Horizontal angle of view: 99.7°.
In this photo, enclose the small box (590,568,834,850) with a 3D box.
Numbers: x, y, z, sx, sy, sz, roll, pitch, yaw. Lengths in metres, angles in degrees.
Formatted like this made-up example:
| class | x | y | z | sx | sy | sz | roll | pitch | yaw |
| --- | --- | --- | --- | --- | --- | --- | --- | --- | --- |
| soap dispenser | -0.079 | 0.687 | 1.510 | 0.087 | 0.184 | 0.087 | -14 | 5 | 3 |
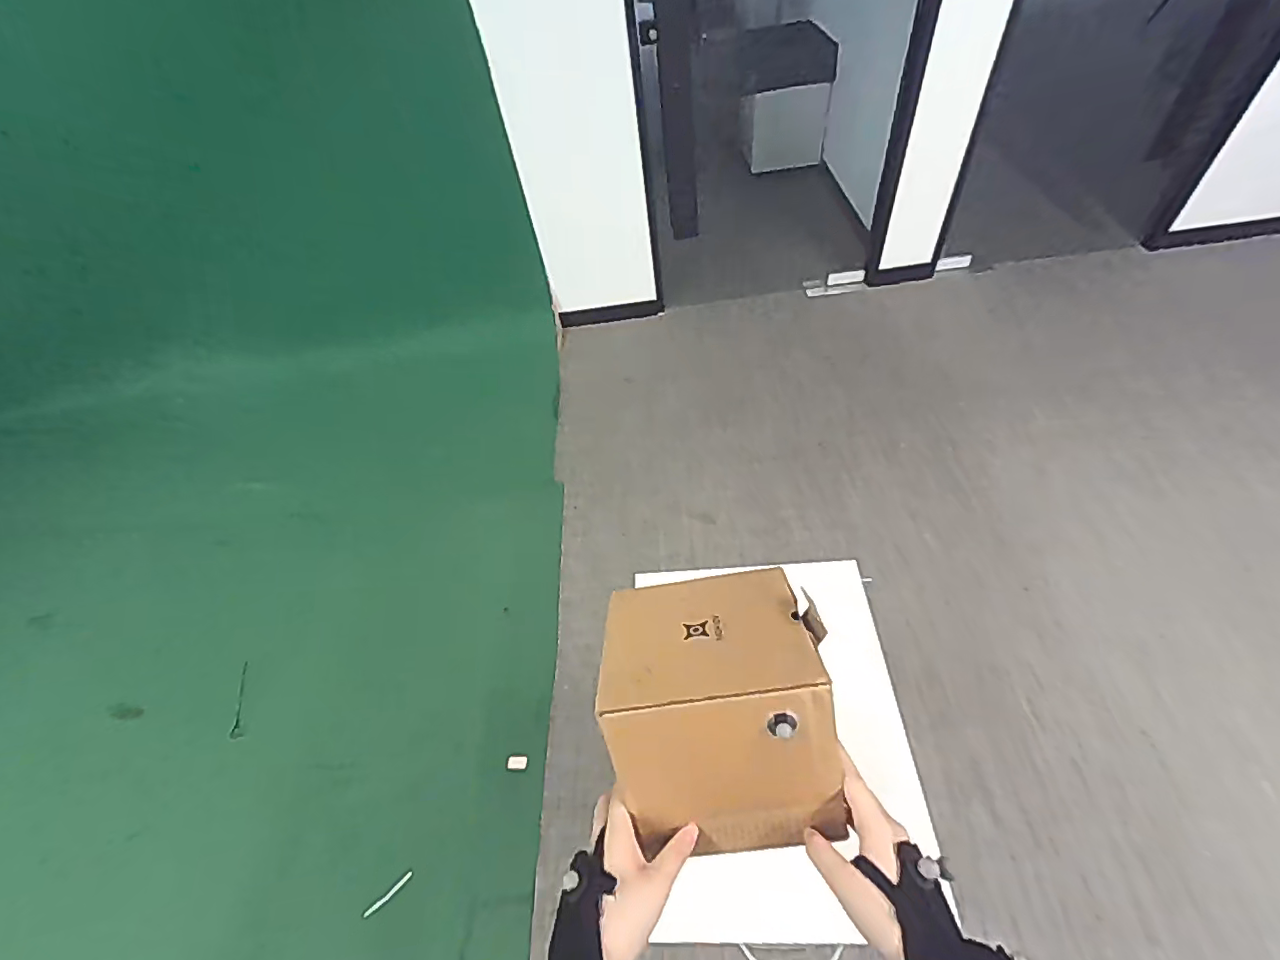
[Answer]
| class | x | y | z | sx | sy | sz | roll | pitch | yaw |
| --- | --- | --- | --- | --- | --- | --- | --- | --- | --- |
| small box | 0.065 | 0.204 | 0.497 | 0.179 | 0.176 | 0.168 | -9 | 20 | 5 |
